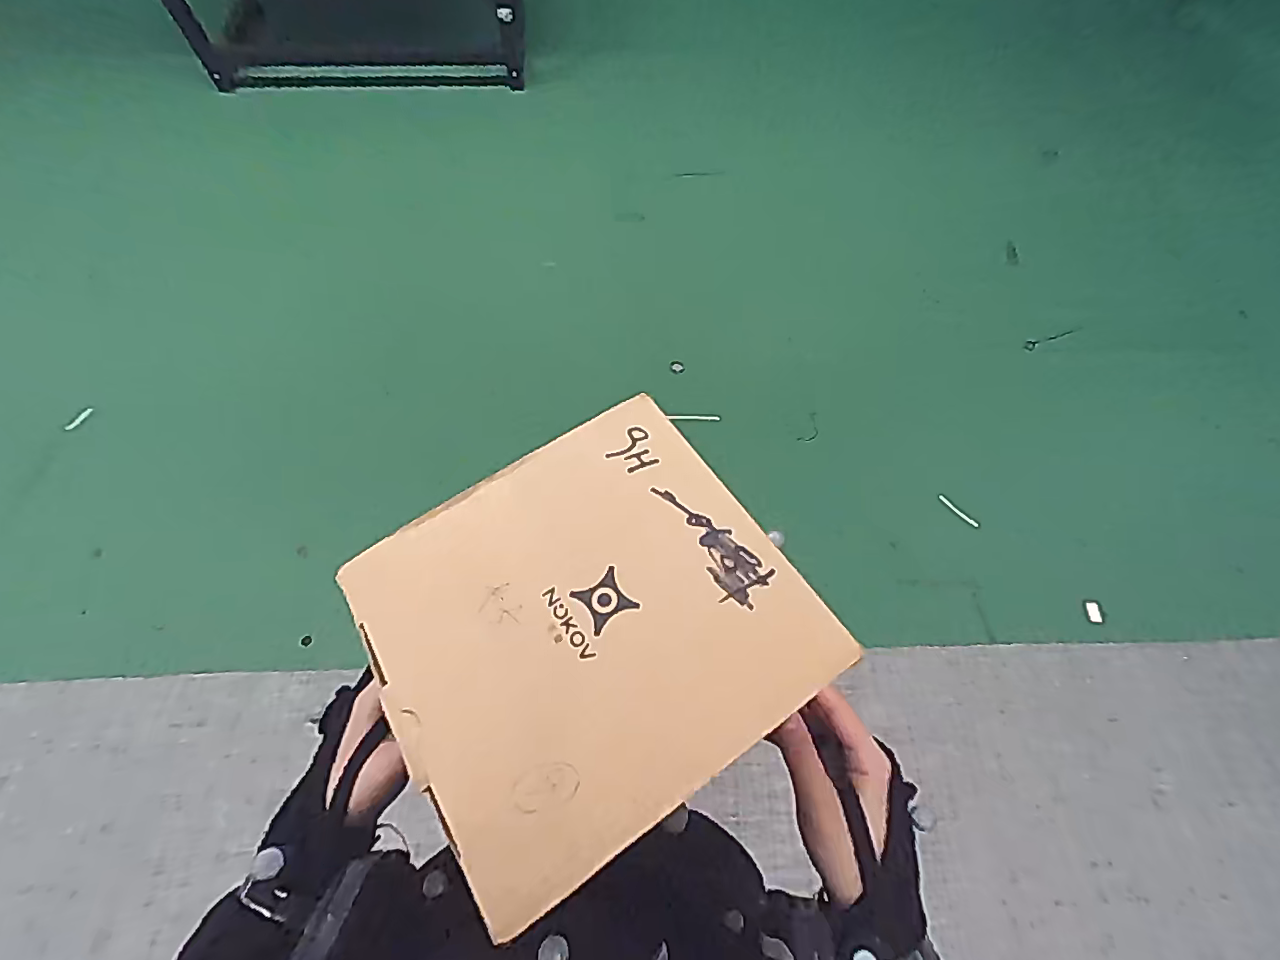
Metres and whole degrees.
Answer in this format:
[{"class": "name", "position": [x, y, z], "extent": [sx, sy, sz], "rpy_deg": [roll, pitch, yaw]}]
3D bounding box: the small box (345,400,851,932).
[{"class": "small box", "position": [-0.020, 0.095, 0.309], "extent": [0.179, 0.176, 0.168], "rpy_deg": [-32, 65, -13]}]
